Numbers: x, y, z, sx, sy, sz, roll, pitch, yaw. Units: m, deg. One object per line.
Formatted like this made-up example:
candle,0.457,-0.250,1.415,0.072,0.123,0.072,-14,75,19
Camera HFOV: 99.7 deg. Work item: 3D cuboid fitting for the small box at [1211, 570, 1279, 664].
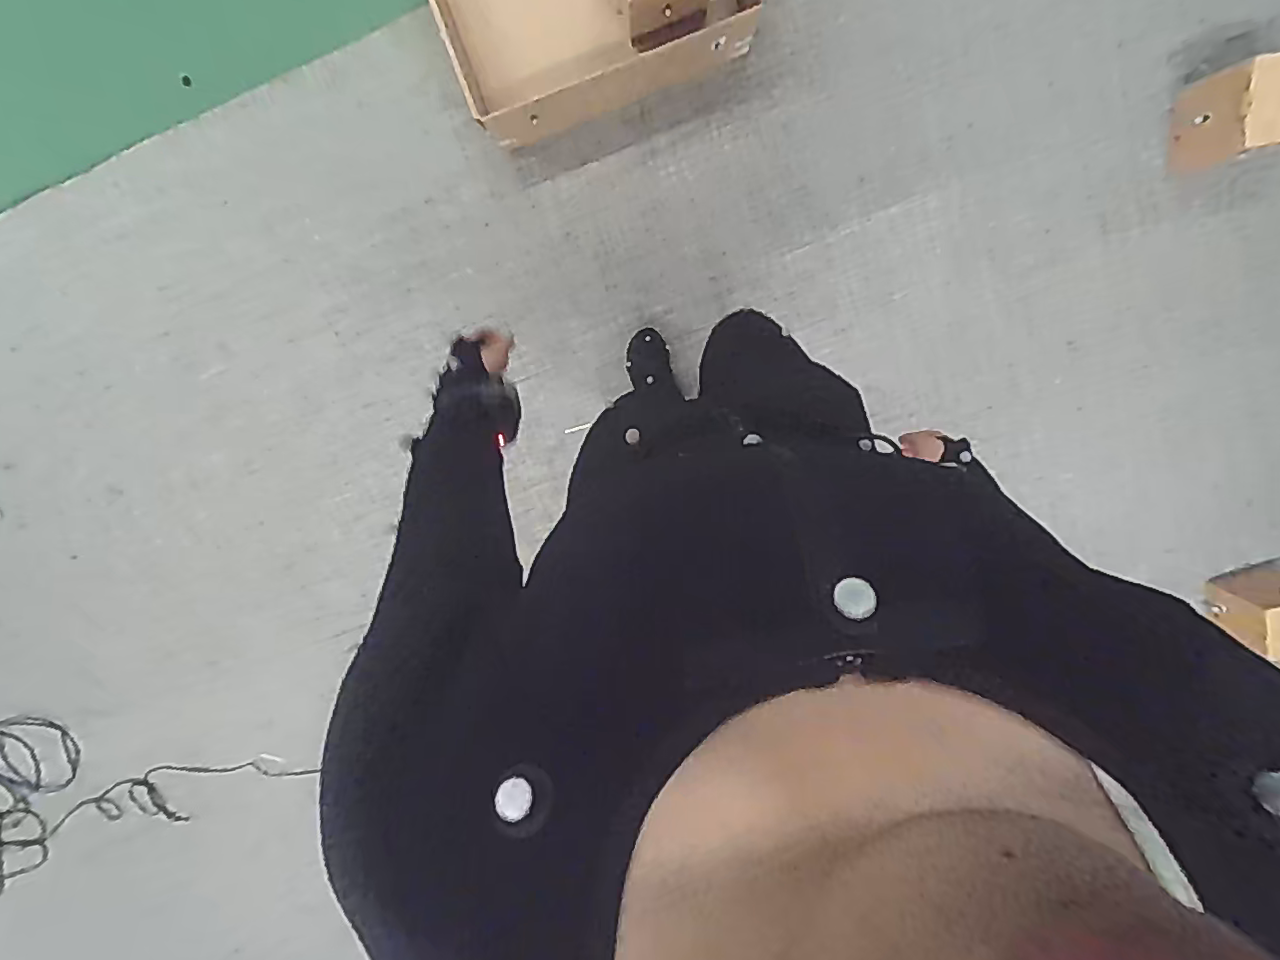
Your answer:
small box,1.757,0.372,1.496,0.179,0.176,0.168,-19,104,8

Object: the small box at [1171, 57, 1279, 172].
small box,1.306,-0.781,1.159,0.179,0.176,0.168,-8,106,4
